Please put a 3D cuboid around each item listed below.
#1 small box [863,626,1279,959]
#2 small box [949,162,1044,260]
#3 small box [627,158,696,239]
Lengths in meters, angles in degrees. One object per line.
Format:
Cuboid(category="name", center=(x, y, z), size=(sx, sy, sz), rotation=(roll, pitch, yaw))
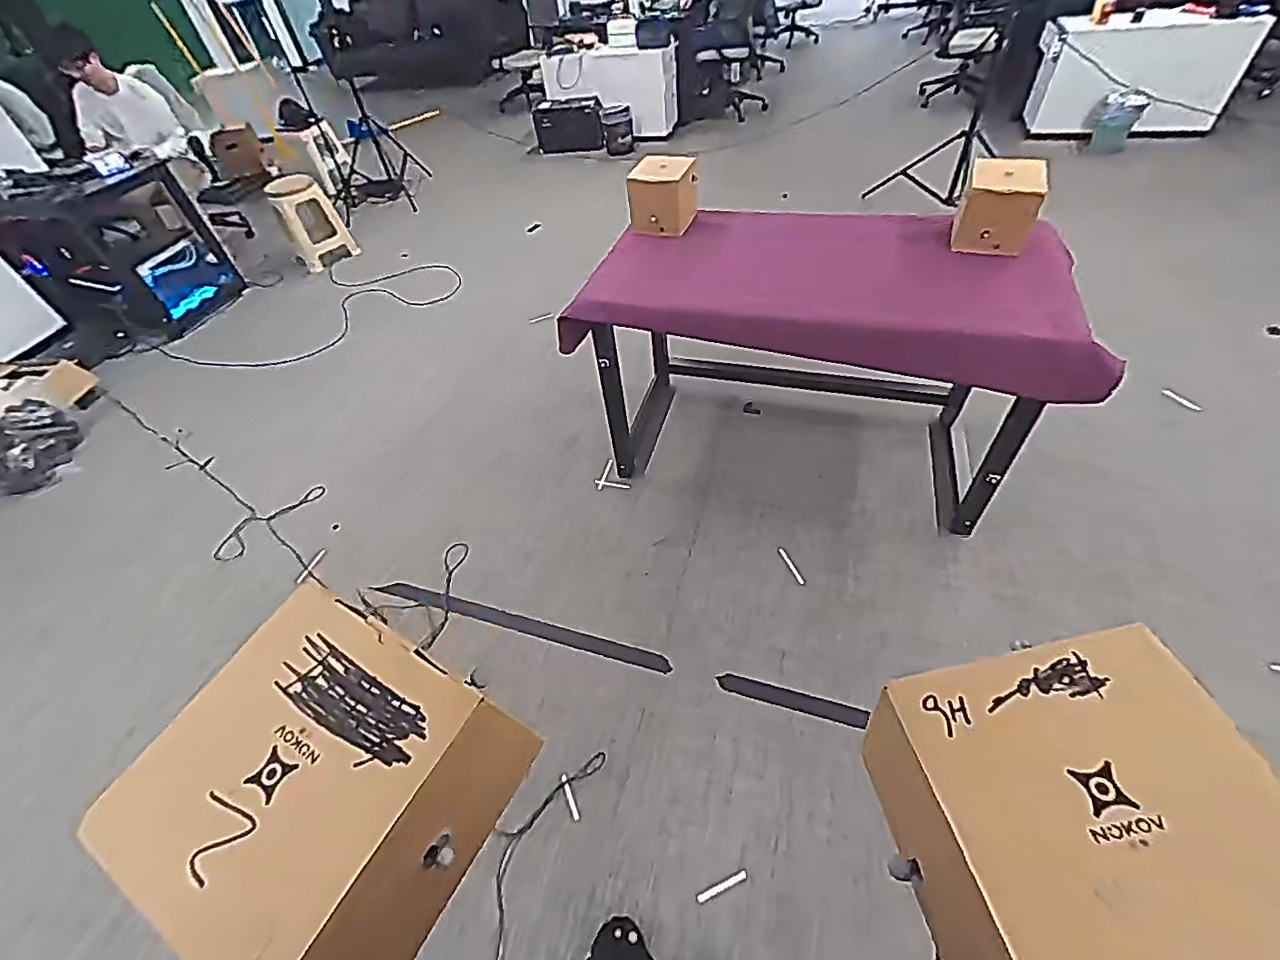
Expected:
Cuboid(category="small box", center=(0.265, 0.225, 0.350), size=(0.168, 0.176, 0.179), rotation=(-15, 49, 3))
Cuboid(category="small box", center=(0.937, -0.713, 1.433), size=(0.168, 0.176, 0.179), rotation=(13, 56, 18))
Cuboid(category="small box", center=(0.072, -0.878, 1.687), size=(0.168, 0.176, 0.179), rotation=(13, 53, 18))
